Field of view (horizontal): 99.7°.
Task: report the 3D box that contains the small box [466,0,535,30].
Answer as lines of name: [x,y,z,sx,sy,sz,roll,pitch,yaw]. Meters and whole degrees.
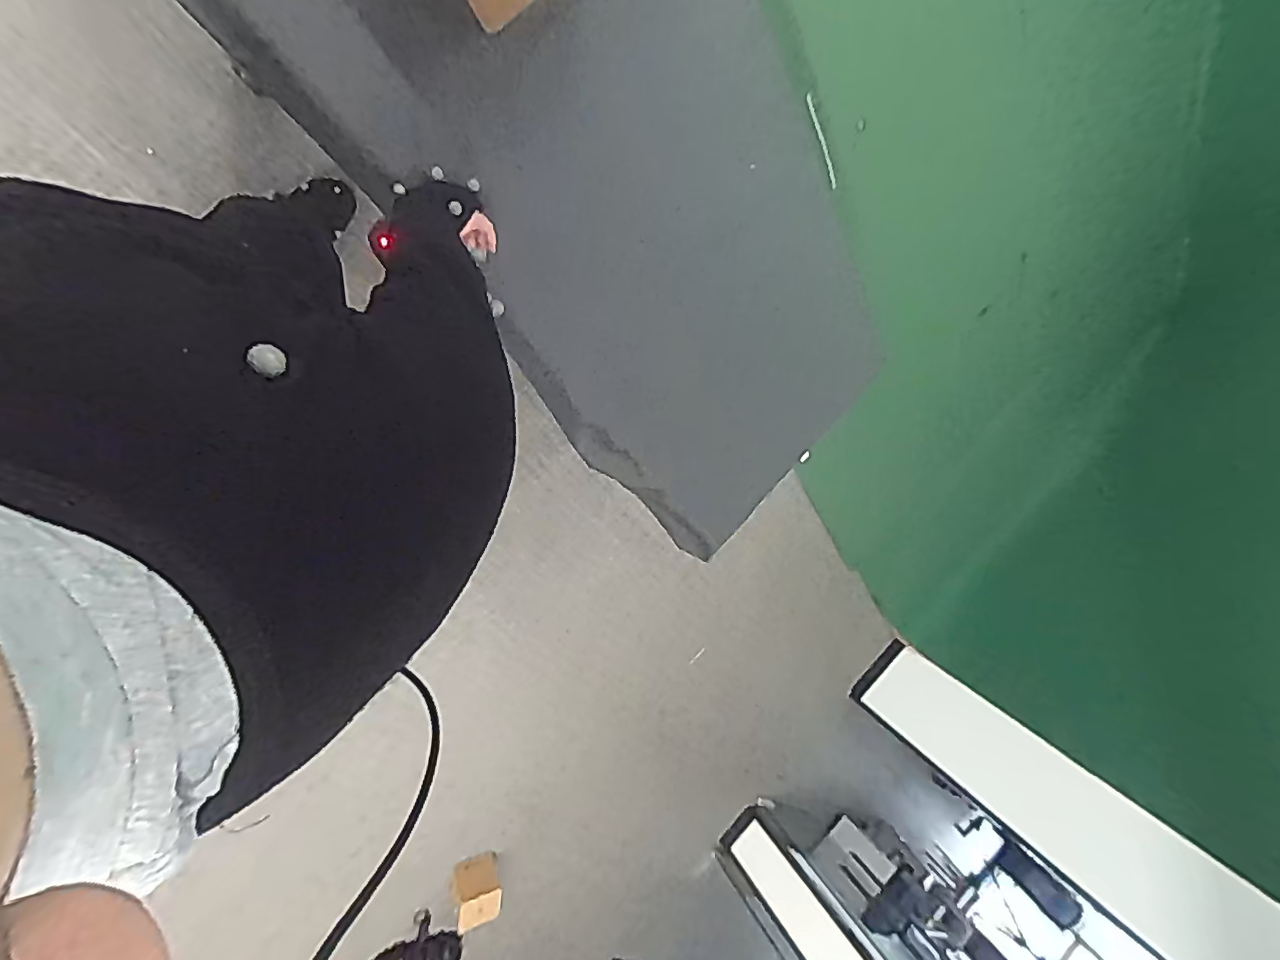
small box: [-0.130,-0.621,0.562,0.179,0.176,0.168,-45,129,-7]
